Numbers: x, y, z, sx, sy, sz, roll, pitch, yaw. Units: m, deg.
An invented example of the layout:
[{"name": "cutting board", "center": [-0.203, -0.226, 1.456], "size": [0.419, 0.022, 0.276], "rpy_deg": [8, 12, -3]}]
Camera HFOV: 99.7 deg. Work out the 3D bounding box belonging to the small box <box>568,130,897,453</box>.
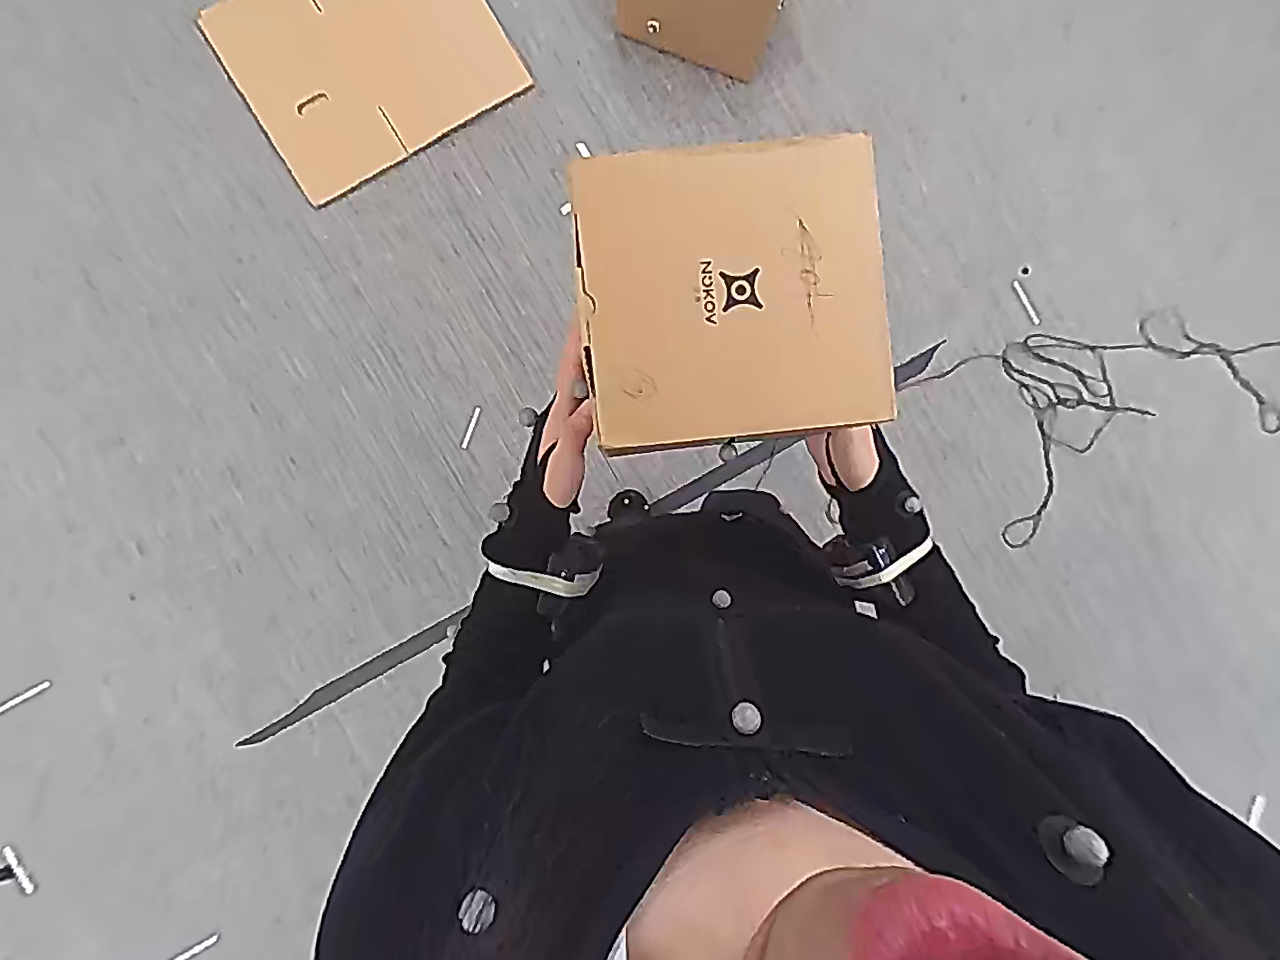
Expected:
[{"name": "small box", "center": [0.052, -0.110, 0.386], "size": [0.179, 0.176, 0.168], "rpy_deg": [-6, 92, -1]}]
